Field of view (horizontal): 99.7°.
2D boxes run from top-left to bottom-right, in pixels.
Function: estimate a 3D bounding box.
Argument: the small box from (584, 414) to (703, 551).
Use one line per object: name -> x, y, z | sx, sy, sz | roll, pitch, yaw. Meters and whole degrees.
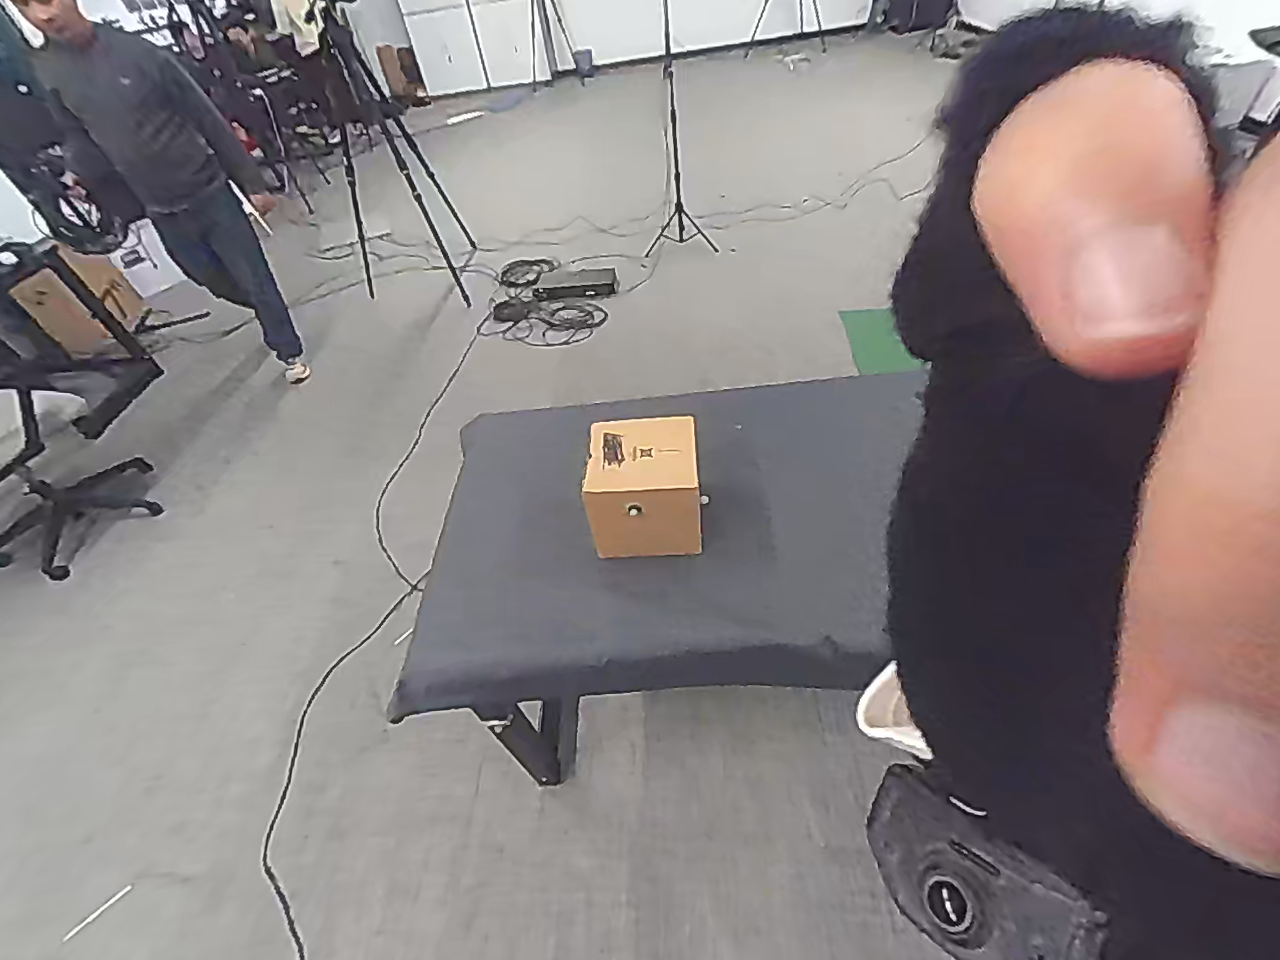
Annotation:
small box -> 0.014, 0.008, 0.916 | 0.179, 0.176, 0.168 | -3, 46, 6
